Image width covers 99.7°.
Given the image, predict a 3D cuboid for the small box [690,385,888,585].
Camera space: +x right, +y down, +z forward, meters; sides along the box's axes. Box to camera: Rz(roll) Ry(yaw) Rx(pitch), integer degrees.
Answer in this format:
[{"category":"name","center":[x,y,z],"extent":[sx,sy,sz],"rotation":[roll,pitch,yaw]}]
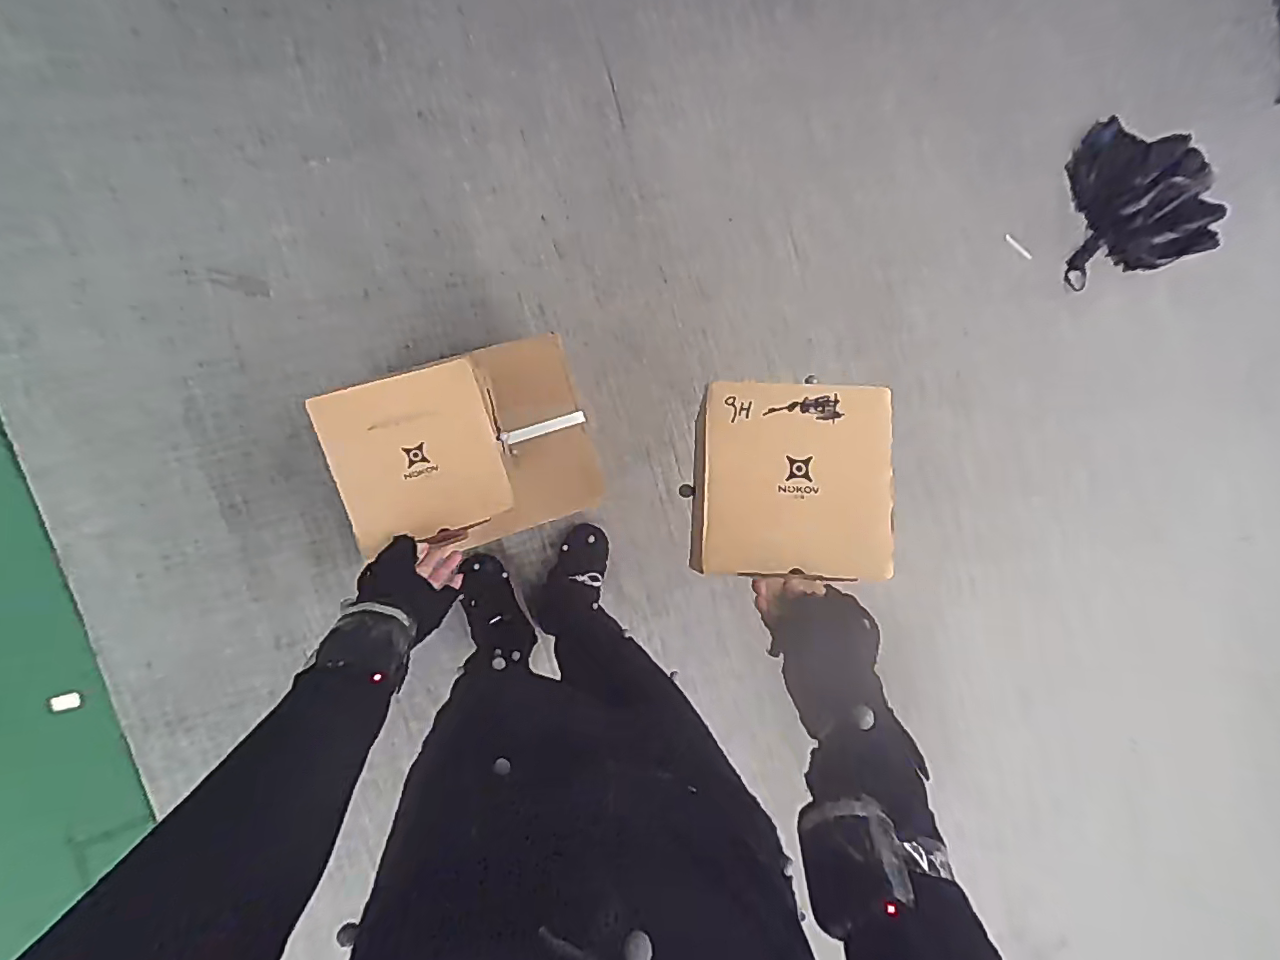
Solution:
[{"category":"small box","center":[0.142,0.011,0.567],"extent":[0.168,0.176,0.179],"rotation":[3,83,1]}]

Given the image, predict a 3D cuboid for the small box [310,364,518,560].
[{"category":"small box","center":[-0.252,-0.029,0.647],"extent":[0.168,0.176,0.179],"rotation":[-19,101,-12]}]
